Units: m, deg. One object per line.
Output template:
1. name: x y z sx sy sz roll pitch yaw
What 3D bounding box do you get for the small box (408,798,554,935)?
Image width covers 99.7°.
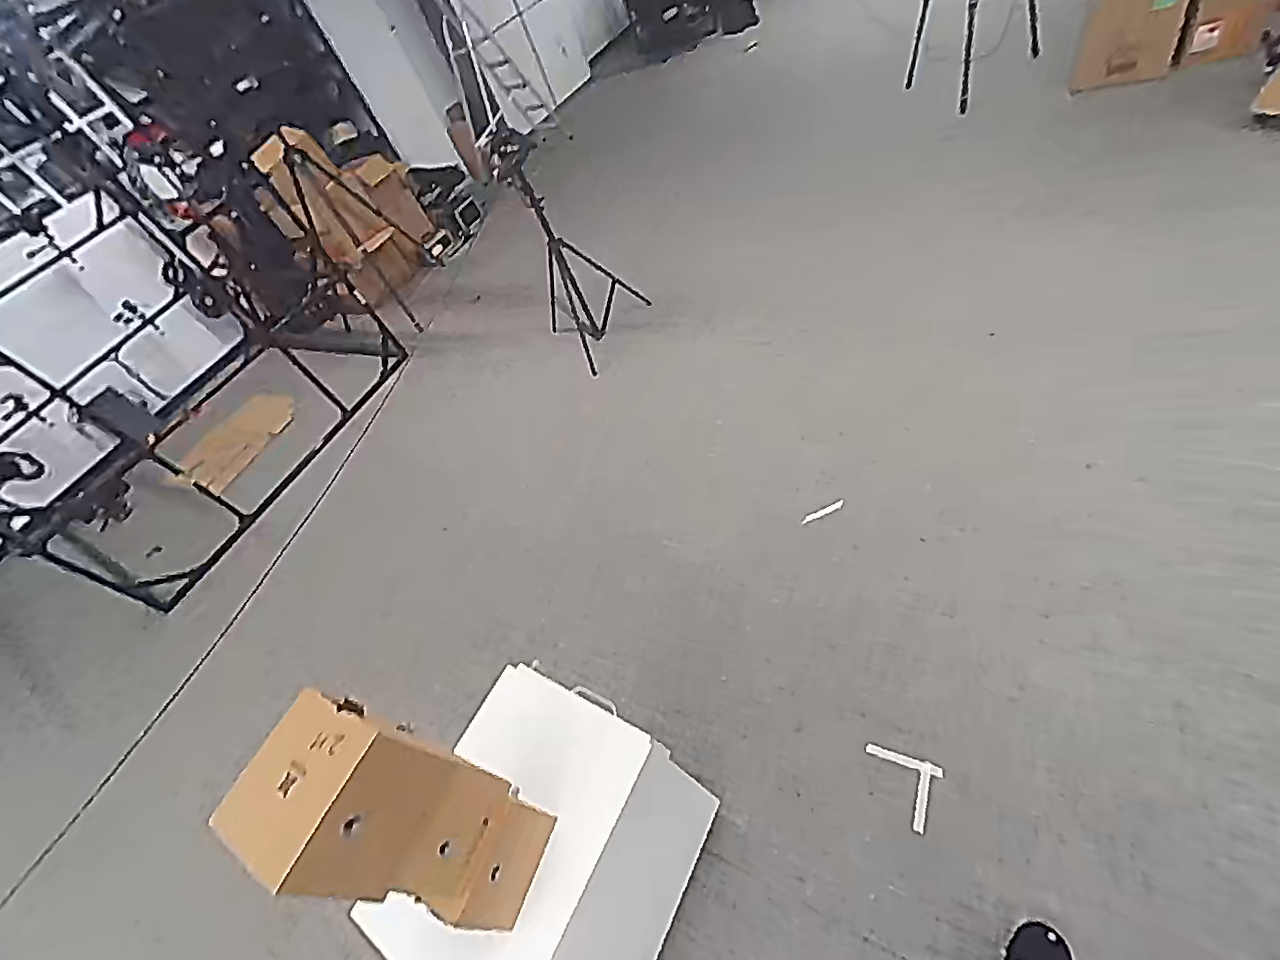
1. small box: -0.273 0.632 0.916 0.168 0.176 0.179 5 53 29

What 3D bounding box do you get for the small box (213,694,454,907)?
1. small box: -0.378 0.412 0.697 0.168 0.176 0.179 9 56 31

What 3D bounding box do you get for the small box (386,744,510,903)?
1. small box: -0.332 0.510 0.822 0.179 0.176 0.168 6 54 30
